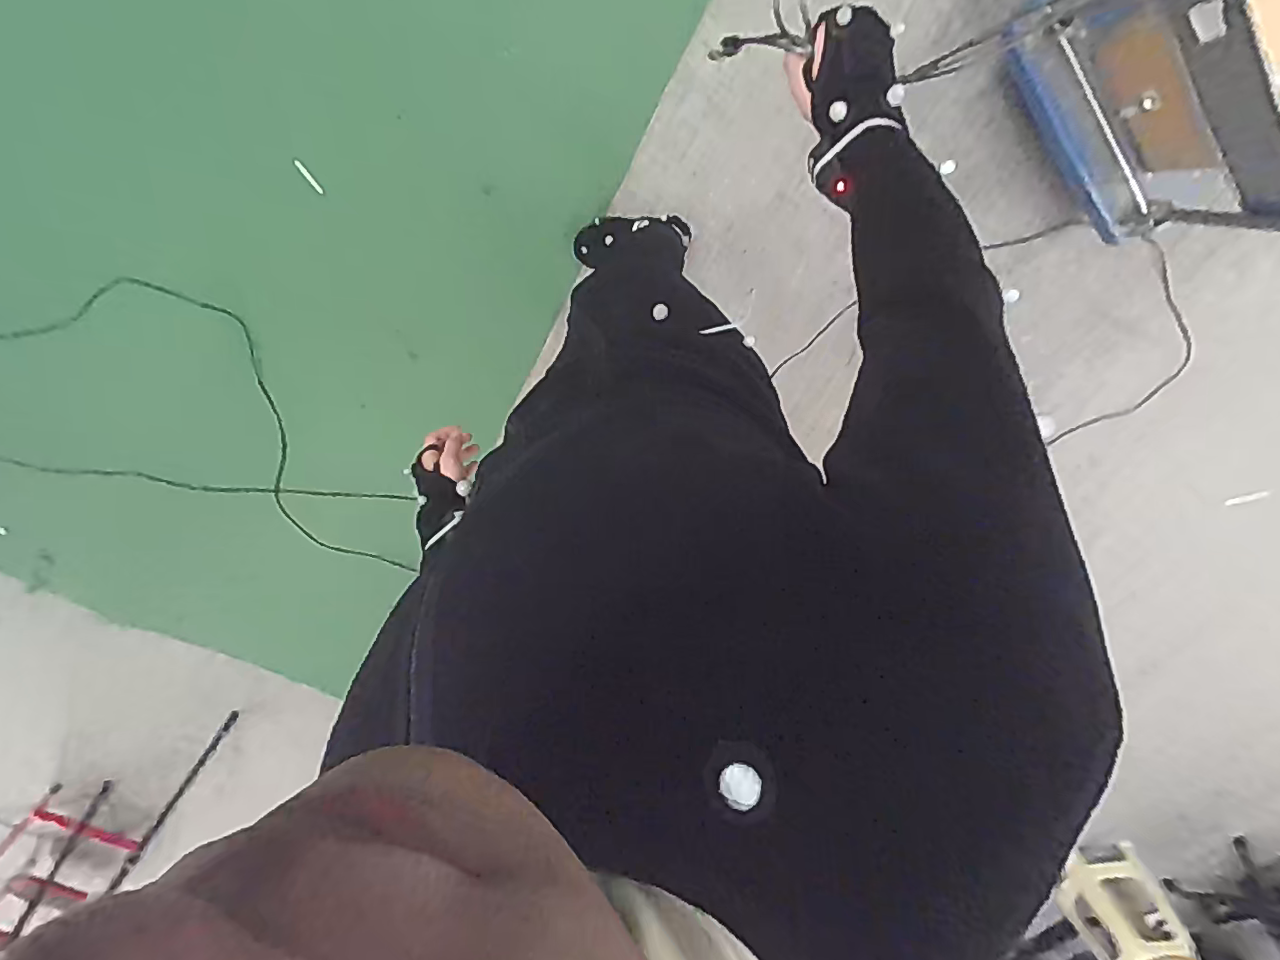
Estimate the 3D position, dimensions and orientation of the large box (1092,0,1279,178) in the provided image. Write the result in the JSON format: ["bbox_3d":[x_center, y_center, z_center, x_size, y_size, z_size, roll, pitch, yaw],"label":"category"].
[{"bbox_3d":[1.154,-0.819,0.948,0.408,0.320,0.320,-41,110,17],"label":"large box"}]
